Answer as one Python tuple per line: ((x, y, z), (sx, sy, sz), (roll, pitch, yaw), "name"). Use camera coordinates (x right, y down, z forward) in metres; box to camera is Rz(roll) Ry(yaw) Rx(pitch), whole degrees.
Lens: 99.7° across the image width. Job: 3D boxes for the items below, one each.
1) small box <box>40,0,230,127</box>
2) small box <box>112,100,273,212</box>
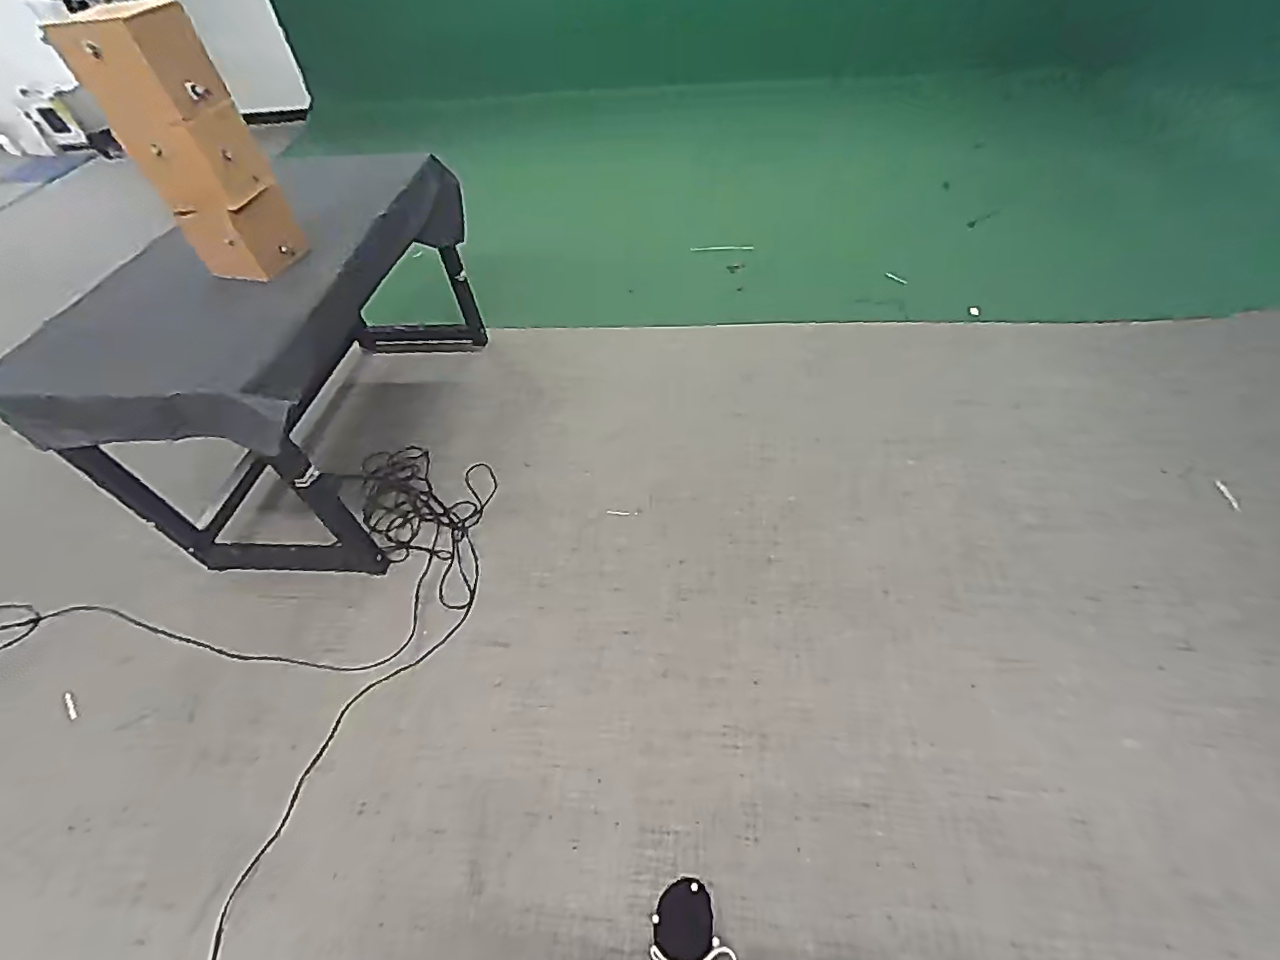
((-0.978, -0.818, 1.068), (0.179, 0.176, 0.168), (2, 52, 6), "small box")
((-0.965, -0.708, 1.188), (0.179, 0.176, 0.168), (3, 51, 8), "small box")
